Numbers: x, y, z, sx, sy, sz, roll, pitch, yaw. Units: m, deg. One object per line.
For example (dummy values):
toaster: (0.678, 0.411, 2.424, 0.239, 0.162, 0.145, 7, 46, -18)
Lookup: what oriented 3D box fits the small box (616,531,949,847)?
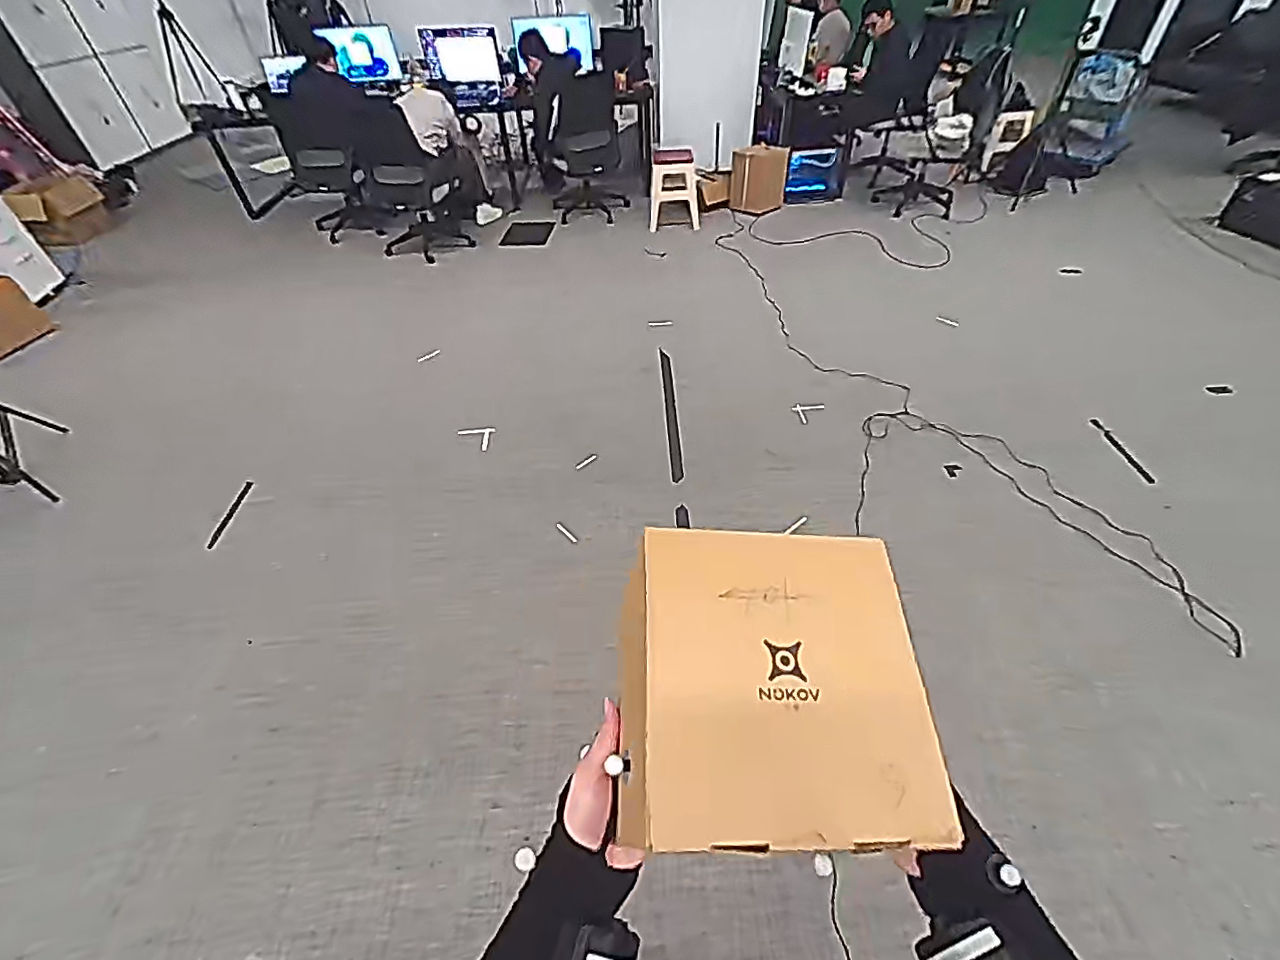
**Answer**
small box: (0.074, 0.155, 0.389, 0.168, 0.176, 0.179, 4, 57, -7)
